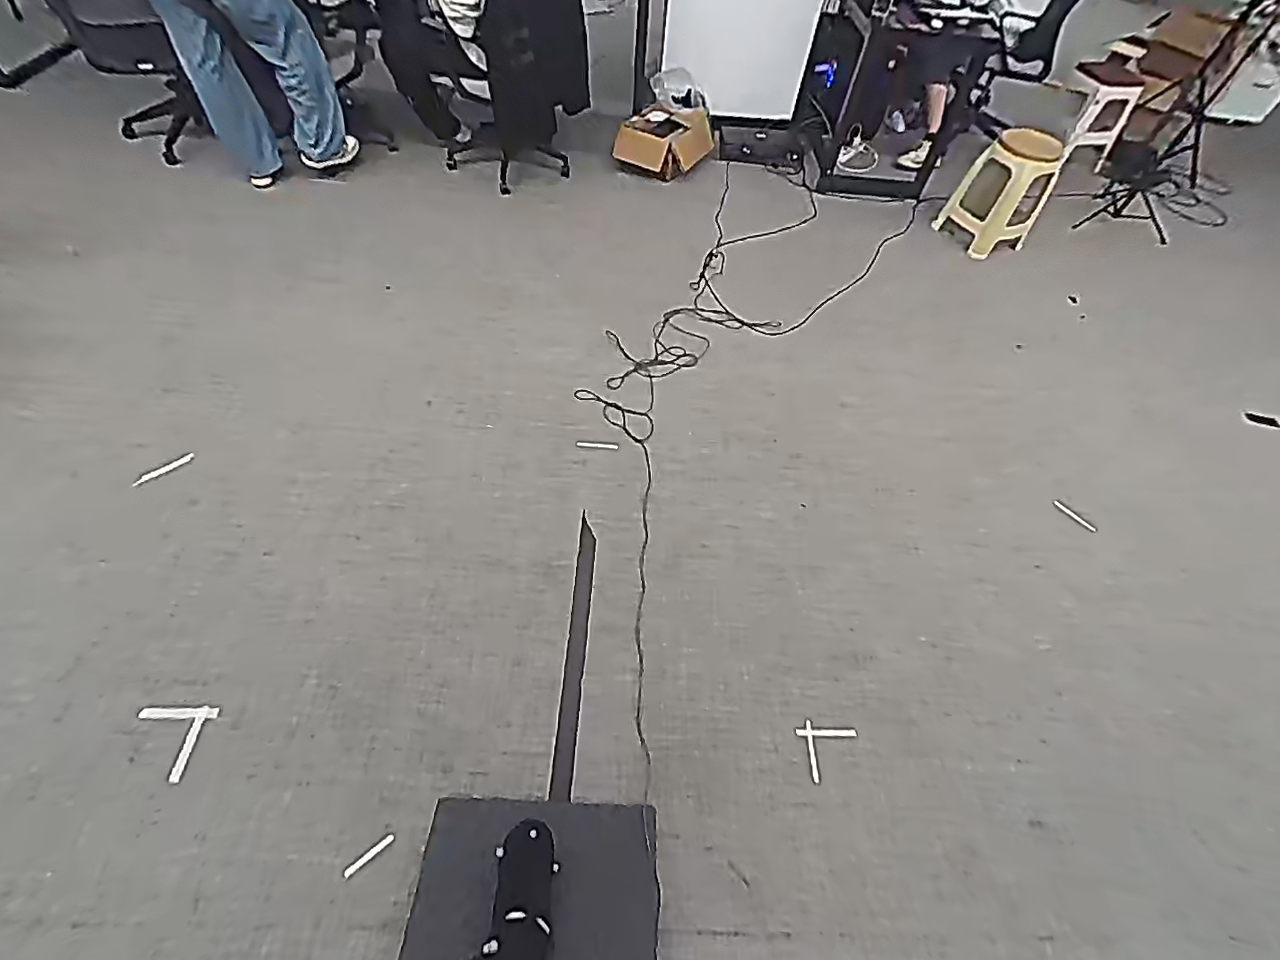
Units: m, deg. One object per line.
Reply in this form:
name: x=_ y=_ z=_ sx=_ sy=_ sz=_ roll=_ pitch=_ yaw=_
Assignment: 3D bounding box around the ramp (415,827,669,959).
ramp: x=-0.188 y=1.108 z=0.830 sx=0.509 sy=0.206 sz=0.991 roll=1 pitch=52 yaw=-2
